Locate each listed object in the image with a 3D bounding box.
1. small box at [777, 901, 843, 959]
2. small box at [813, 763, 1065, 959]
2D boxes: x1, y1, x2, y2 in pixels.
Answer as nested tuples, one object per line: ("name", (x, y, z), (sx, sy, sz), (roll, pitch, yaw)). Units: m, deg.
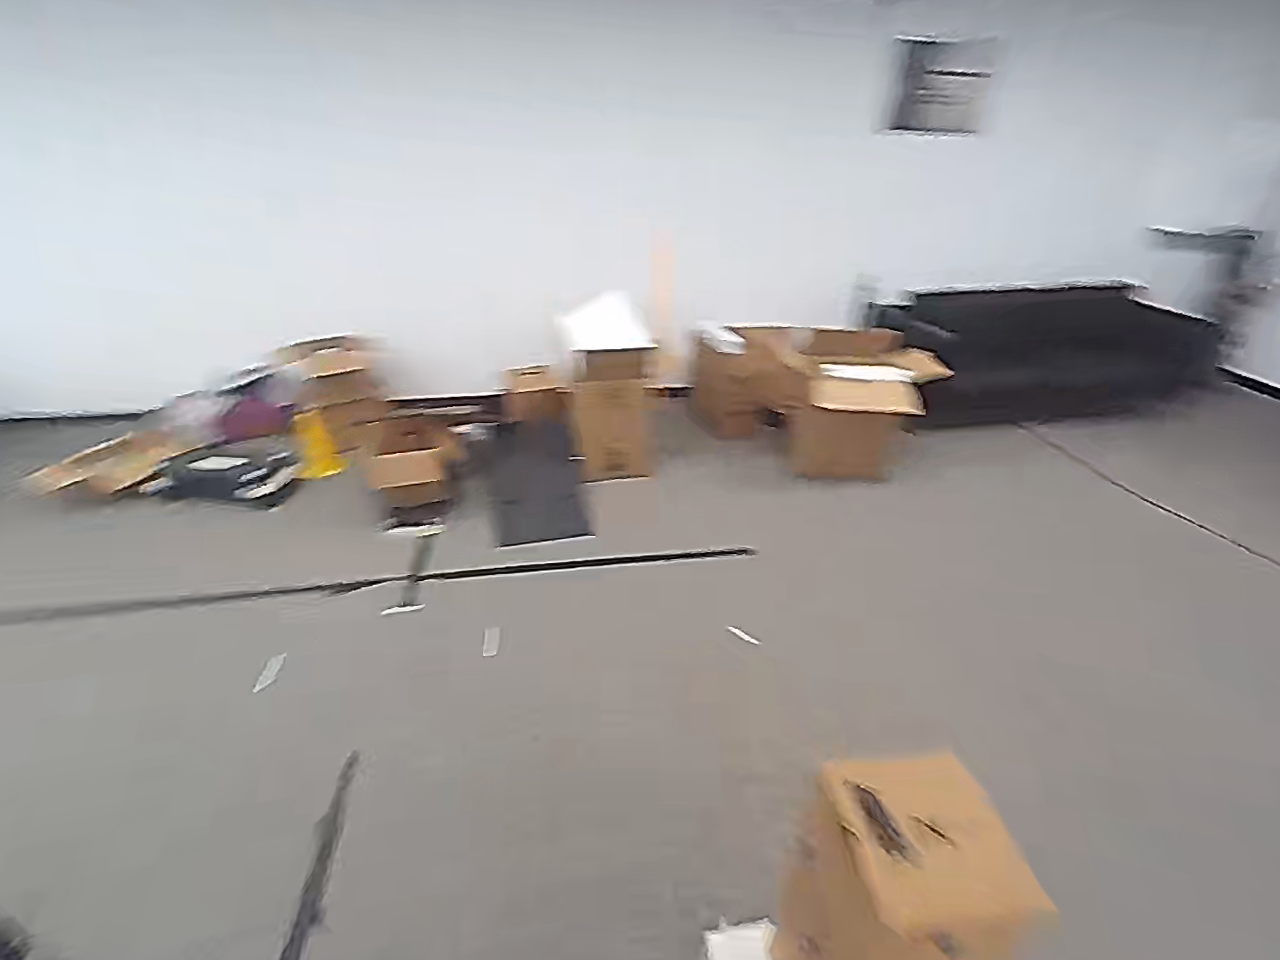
("small box", (0.308, 0.734, 0.777), (0.179, 0.176, 0.168), (-2, 32, -7))
("small box", (0.309, 0.450, 0.610), (0.179, 0.176, 0.168), (0, 31, -5))
